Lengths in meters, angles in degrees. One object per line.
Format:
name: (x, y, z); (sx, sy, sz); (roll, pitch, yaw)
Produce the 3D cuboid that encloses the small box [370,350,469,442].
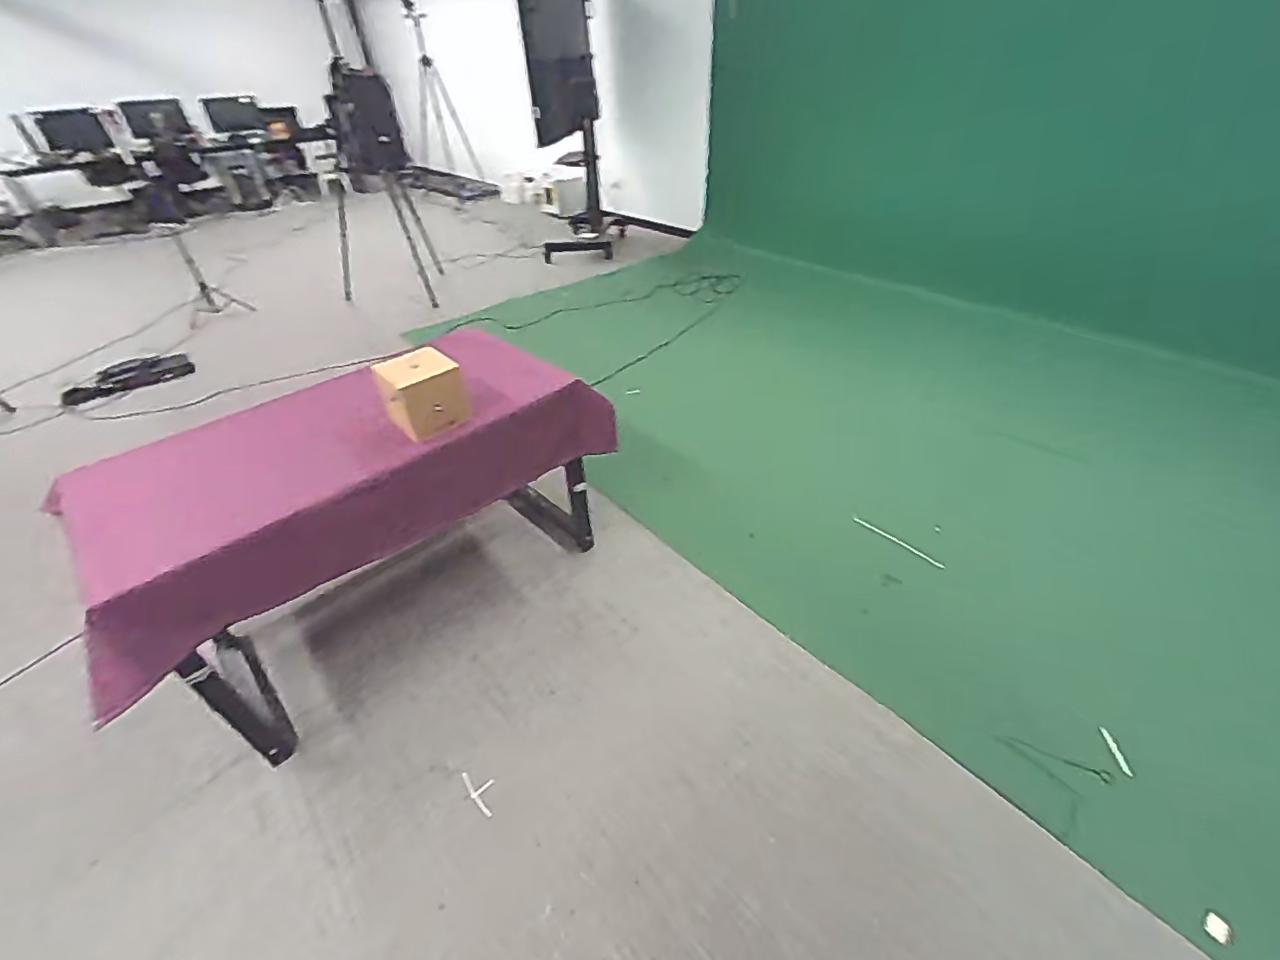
small box: (-0.584, -0.222, 1.448); (0.168, 0.176, 0.179); (-32, 47, -31)
